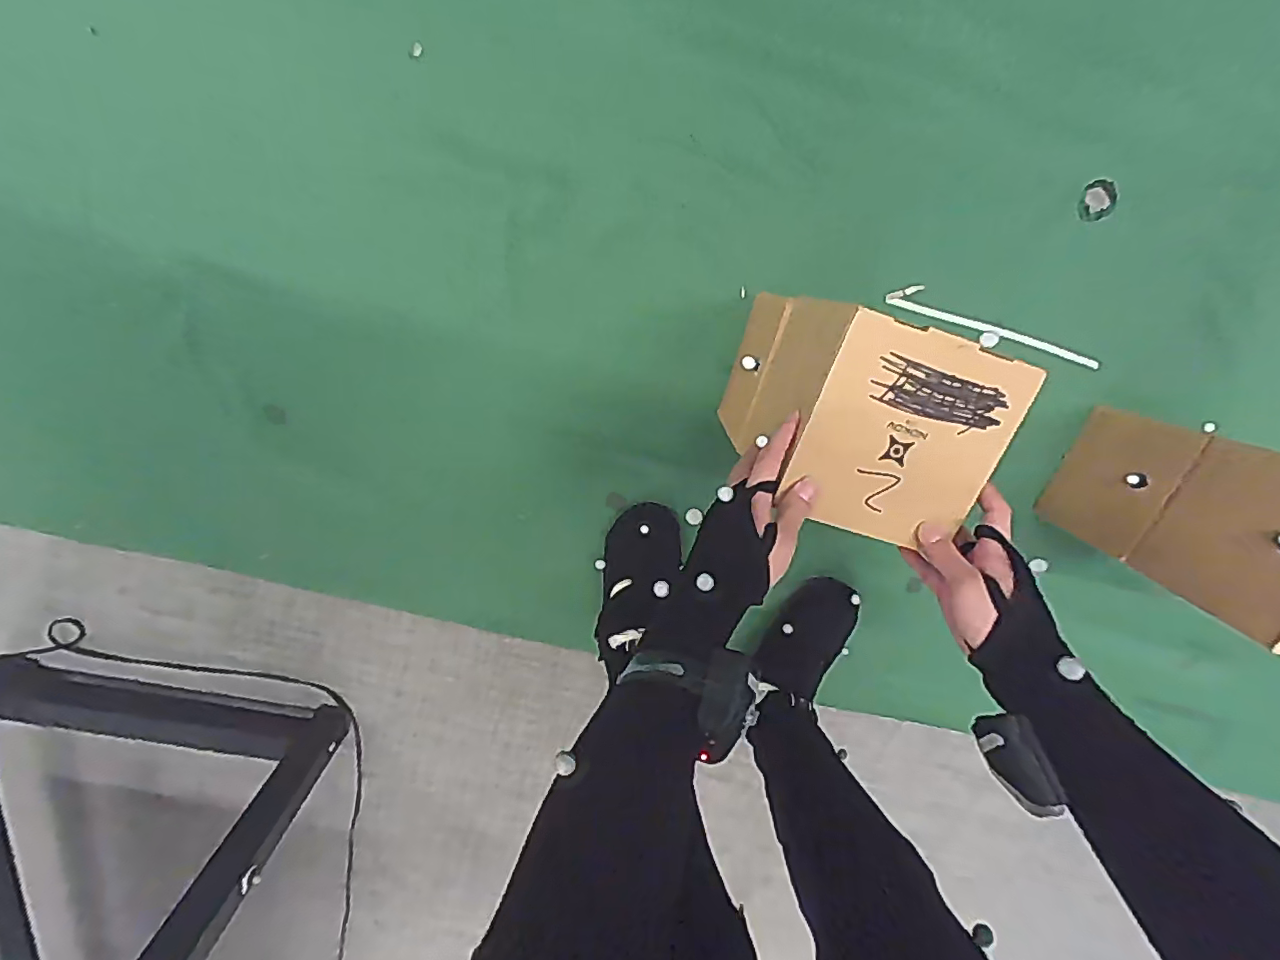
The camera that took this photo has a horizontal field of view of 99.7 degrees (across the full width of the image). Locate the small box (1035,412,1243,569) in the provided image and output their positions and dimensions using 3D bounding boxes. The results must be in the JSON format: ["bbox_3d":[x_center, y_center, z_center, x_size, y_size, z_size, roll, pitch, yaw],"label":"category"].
[{"bbox_3d":[0.691,0.023,0.728,0.168,0.176,0.179,16,109,-7],"label":"small box"}]

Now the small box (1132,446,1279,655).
[{"bbox_3d":[0.696,0.079,0.573,0.168,0.176,0.179,16,109,-6],"label":"small box"}]

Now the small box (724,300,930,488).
[{"bbox_3d":[0.212,-0.115,0.674,0.168,0.176,0.179,15,108,-6],"label":"small box"}]
